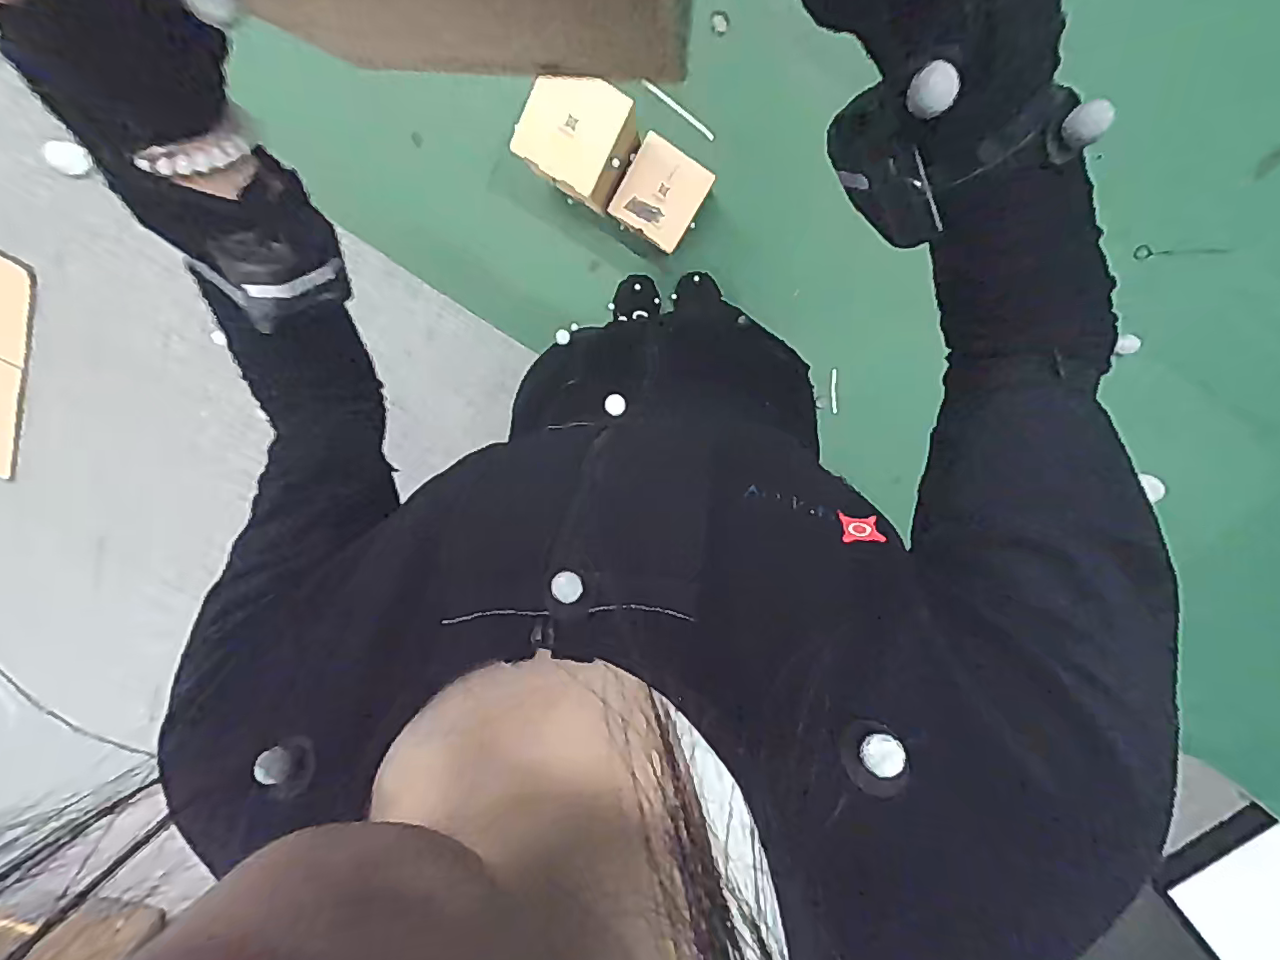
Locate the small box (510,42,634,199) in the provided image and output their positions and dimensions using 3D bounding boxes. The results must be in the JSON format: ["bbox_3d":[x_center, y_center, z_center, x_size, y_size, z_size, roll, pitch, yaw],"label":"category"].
[{"bbox_3d":[-0.121,-0.663,1.026,0.168,0.176,0.179,28,111,-8],"label":"small box"}]
